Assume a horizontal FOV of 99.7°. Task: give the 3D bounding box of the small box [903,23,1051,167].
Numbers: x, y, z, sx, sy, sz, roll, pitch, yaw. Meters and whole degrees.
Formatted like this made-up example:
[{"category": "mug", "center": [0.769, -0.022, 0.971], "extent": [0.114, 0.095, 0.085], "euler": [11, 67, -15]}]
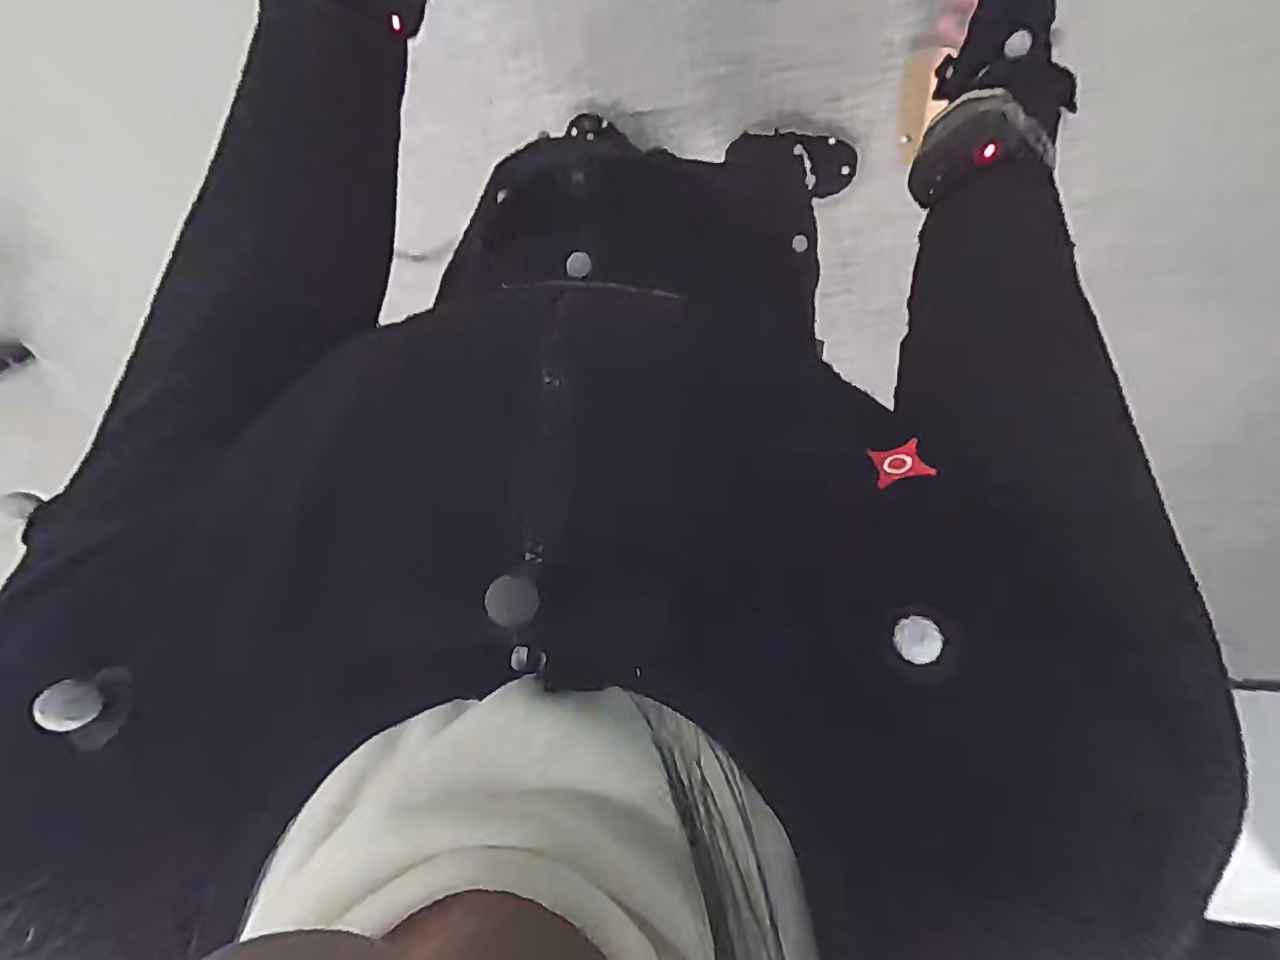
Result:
[{"category": "small box", "center": [0.580, -0.681, 0.962], "extent": [0.168, 0.176, 0.179], "euler": [-4, 125, 12]}]
